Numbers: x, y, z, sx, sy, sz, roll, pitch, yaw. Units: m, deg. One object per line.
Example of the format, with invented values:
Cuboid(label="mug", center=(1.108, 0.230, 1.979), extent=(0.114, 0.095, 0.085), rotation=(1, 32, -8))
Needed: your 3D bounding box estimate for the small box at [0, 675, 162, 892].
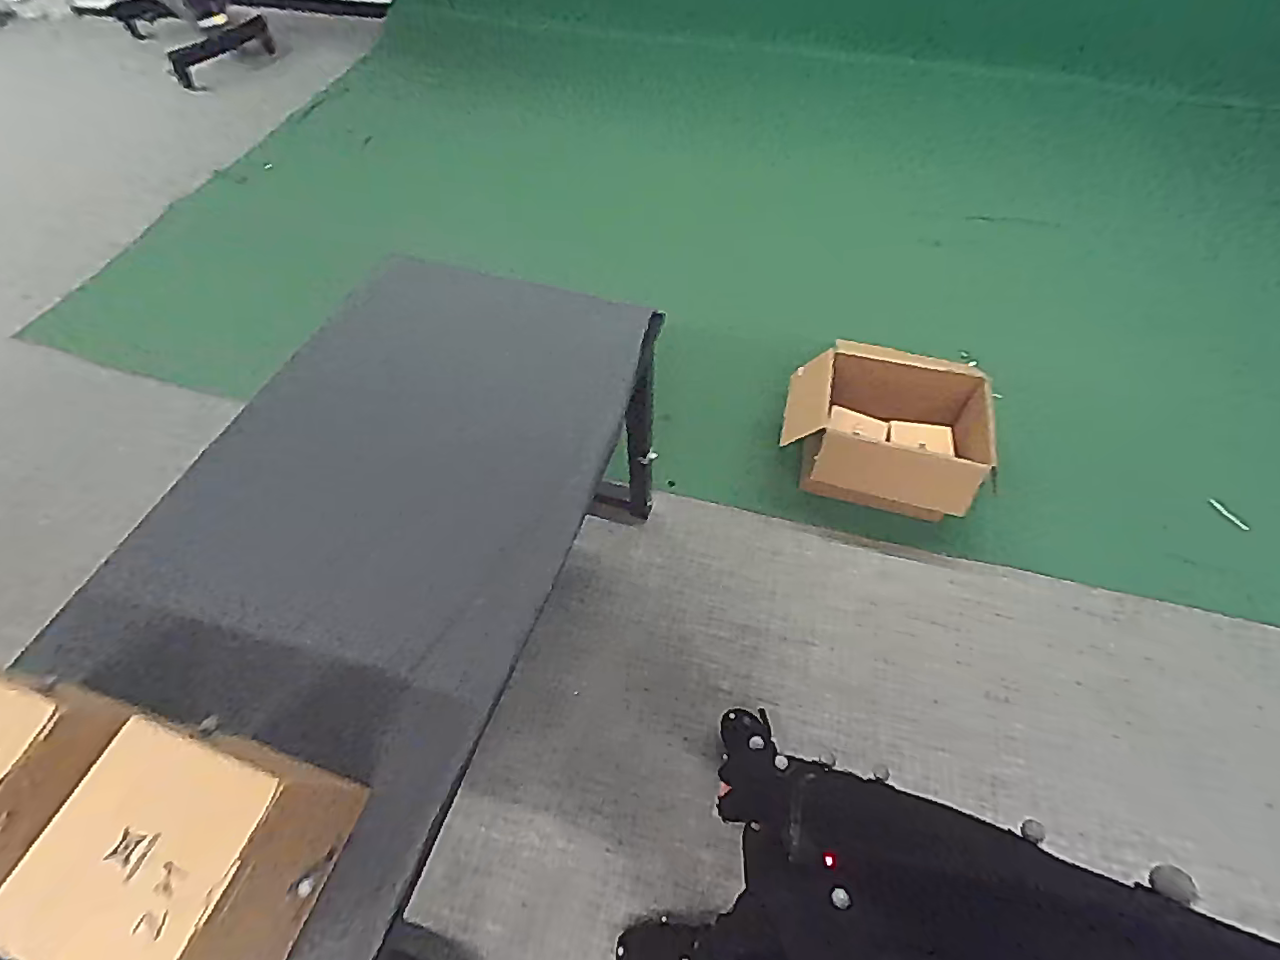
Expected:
Cuboid(label="small box", center=(-0.639, 0.302, 0.544), extent=(0.179, 0.176, 0.168), rotation=(14, 59, 9))

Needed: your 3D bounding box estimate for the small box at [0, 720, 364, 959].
Cuboid(label="small box", center=(-0.409, 0.351, 0.510), extent=(0.179, 0.176, 0.168), rotation=(15, 60, 11))
